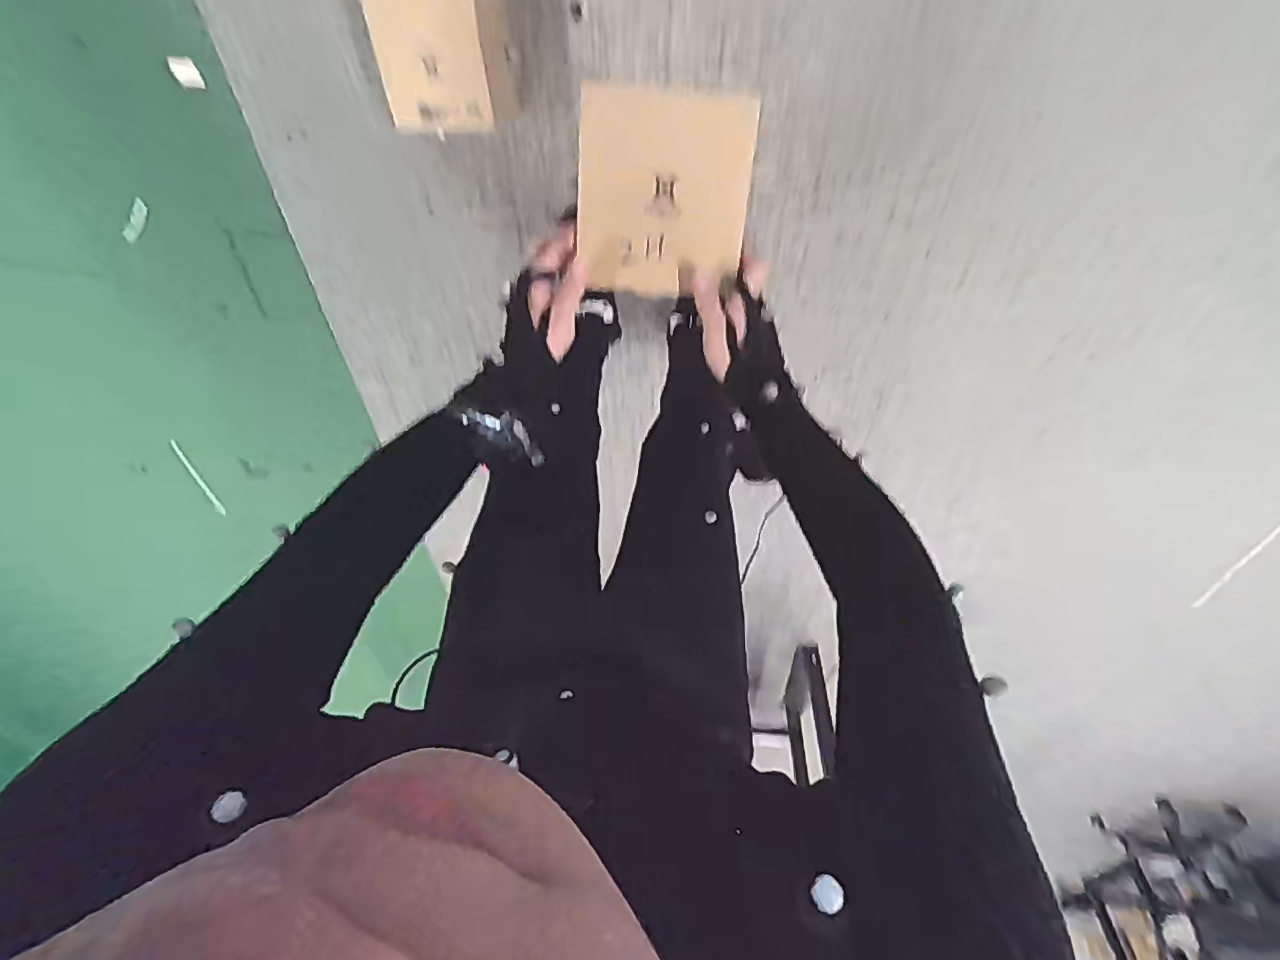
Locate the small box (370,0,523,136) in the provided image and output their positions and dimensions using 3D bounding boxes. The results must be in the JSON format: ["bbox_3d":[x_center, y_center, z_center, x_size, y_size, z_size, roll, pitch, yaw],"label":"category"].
[{"bbox_3d":[-0.300,-0.675,0.881,0.168,0.176,0.179,3,131,5],"label":"small box"}]
